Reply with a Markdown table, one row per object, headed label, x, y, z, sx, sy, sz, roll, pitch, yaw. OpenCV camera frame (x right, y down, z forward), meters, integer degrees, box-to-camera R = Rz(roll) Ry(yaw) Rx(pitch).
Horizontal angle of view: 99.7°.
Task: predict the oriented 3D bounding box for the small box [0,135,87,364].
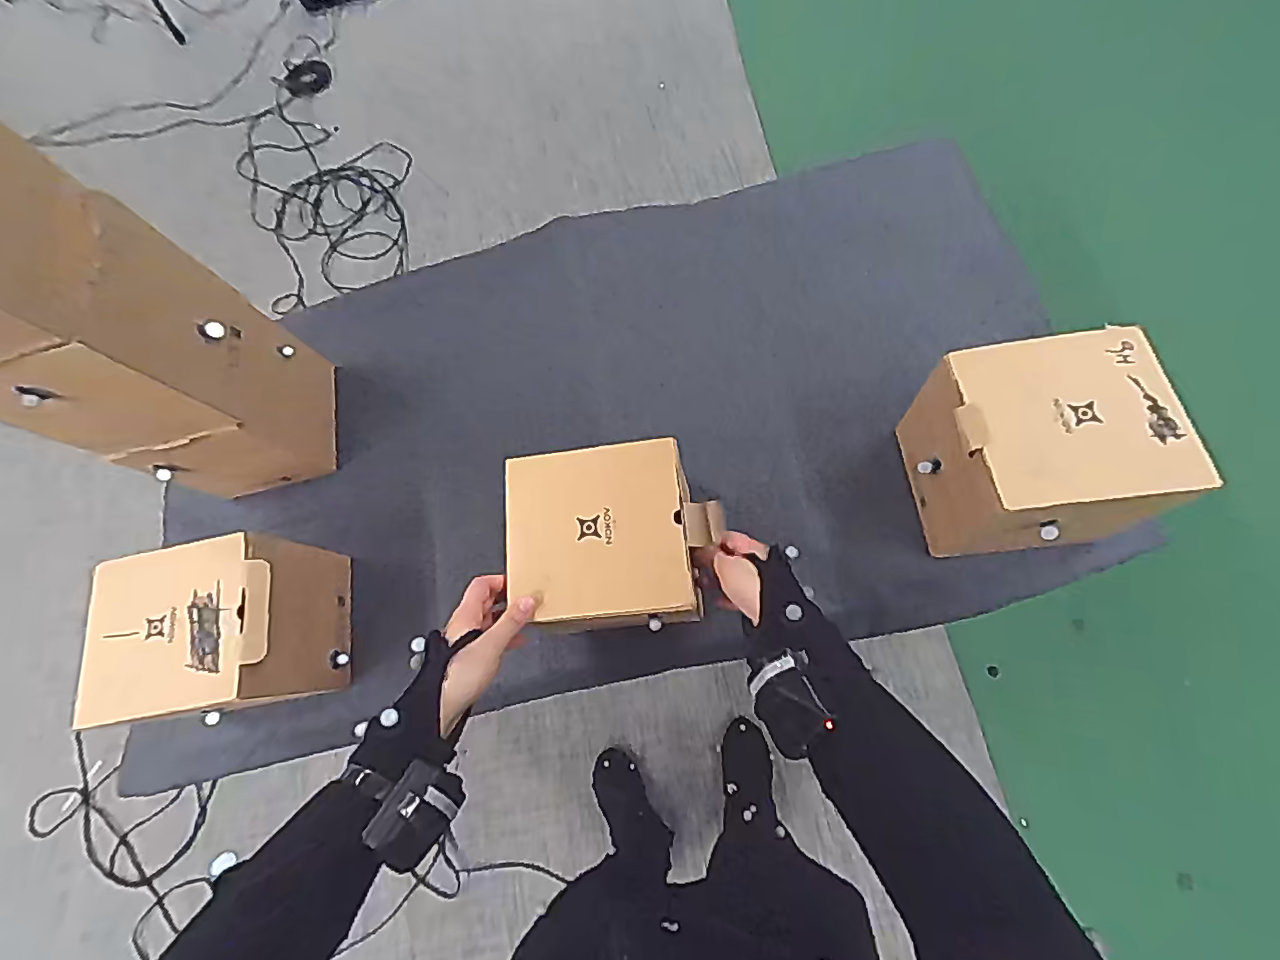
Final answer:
| label | x | y | z | sx | sy | sz | roll | pitch | yaw |
| --- | --- | --- | --- | --- | --- | --- | --- | --- | --- |
| small box | -0.567 | -0.187 | 0.395 | 0.168 | 0.176 | 0.179 | -16 | 71 | 1 |

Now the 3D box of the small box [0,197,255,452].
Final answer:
| label | x | y | z | sx | sy | sz | roll | pitch | yaw |
| --- | --- | --- | --- | --- | --- | --- | --- | --- | --- |
| small box | -0.539 | -0.141 | 0.548 | 0.179 | 0.176 | 0.168 | -12 | 73 | 3 |

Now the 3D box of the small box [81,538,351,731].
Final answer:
| label | x | y | z | sx | sy | sz | roll | pitch | yaw |
| --- | --- | --- | --- | --- | --- | --- | --- | --- | --- |
| small box | -0.456 | 0.172 | 0.613 | 0.179 | 0.176 | 0.168 | -12 | 72 | 5 |

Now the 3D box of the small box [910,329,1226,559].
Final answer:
| label | x | y | z | sx | sy | sz | roll | pitch | yaw |
| --- | --- | --- | --- | --- | --- | --- | --- | --- | --- |
| small box | 0.396 | -0.023 | 0.549 | 0.179 | 0.176 | 0.168 | -7 | 68 | 7 |

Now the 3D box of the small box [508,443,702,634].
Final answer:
| label | x | y | z | sx | sy | sz | roll | pitch | yaw |
| --- | --- | --- | --- | --- | --- | --- | --- | --- | --- |
| small box | -0.030 | 0.075 | 0.587 | 0.179 | 0.176 | 0.168 | -7 | 72 | 6 |
